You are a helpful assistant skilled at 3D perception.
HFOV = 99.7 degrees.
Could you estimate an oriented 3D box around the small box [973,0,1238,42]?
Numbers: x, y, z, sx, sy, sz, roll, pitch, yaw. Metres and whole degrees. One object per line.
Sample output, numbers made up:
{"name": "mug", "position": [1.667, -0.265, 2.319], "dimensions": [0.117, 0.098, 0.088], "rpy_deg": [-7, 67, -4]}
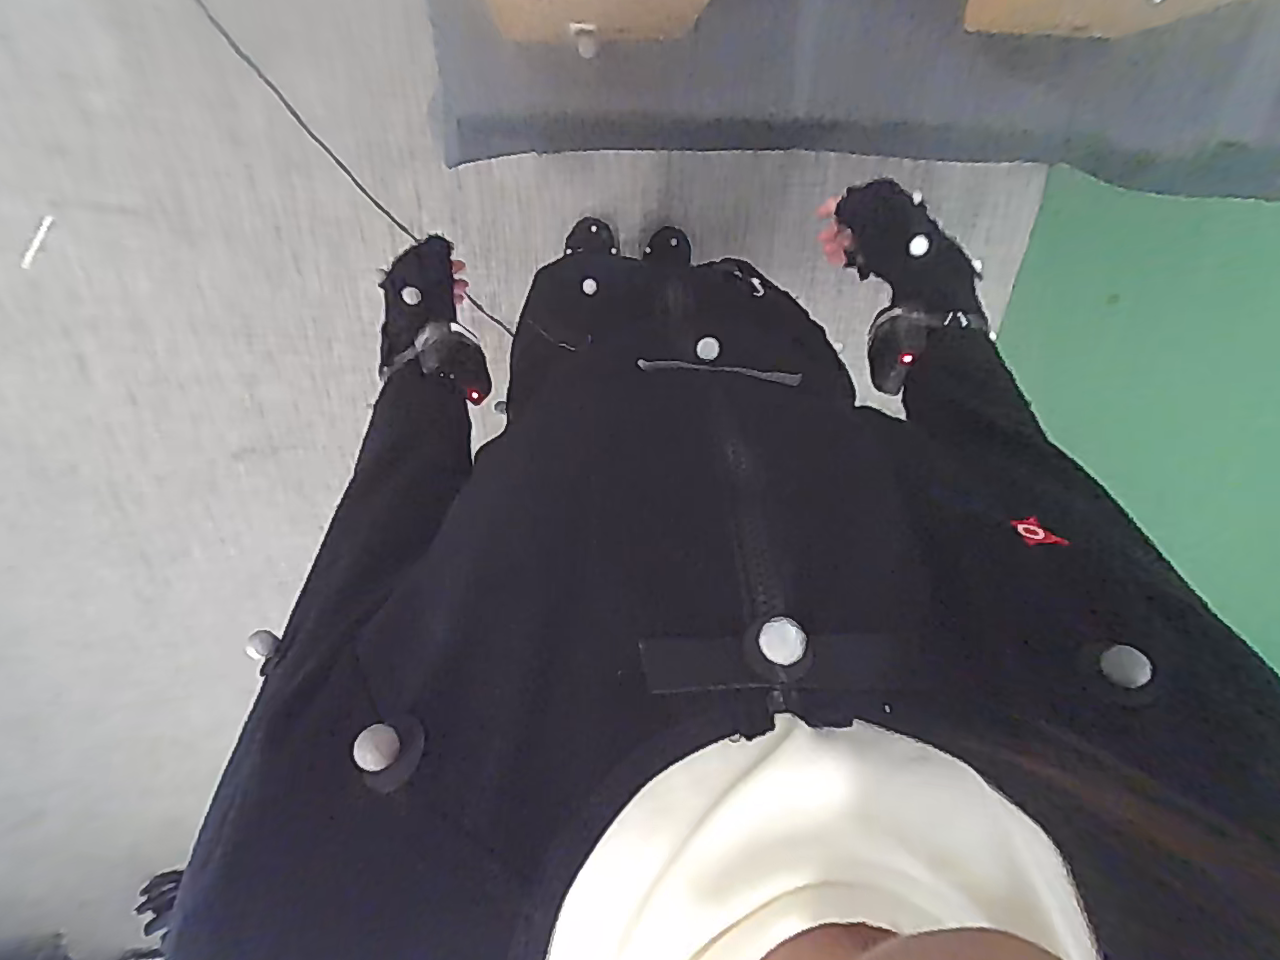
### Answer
{"name": "small box", "position": [0.393, -0.467, 0.406], "dimensions": [0.168, 0.176, 0.179], "rpy_deg": [-1, 116, -5]}

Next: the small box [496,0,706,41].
{"name": "small box", "position": [-0.032, -0.427, 0.361], "dimensions": [0.168, 0.176, 0.179], "rpy_deg": [-2, 117, -3]}
